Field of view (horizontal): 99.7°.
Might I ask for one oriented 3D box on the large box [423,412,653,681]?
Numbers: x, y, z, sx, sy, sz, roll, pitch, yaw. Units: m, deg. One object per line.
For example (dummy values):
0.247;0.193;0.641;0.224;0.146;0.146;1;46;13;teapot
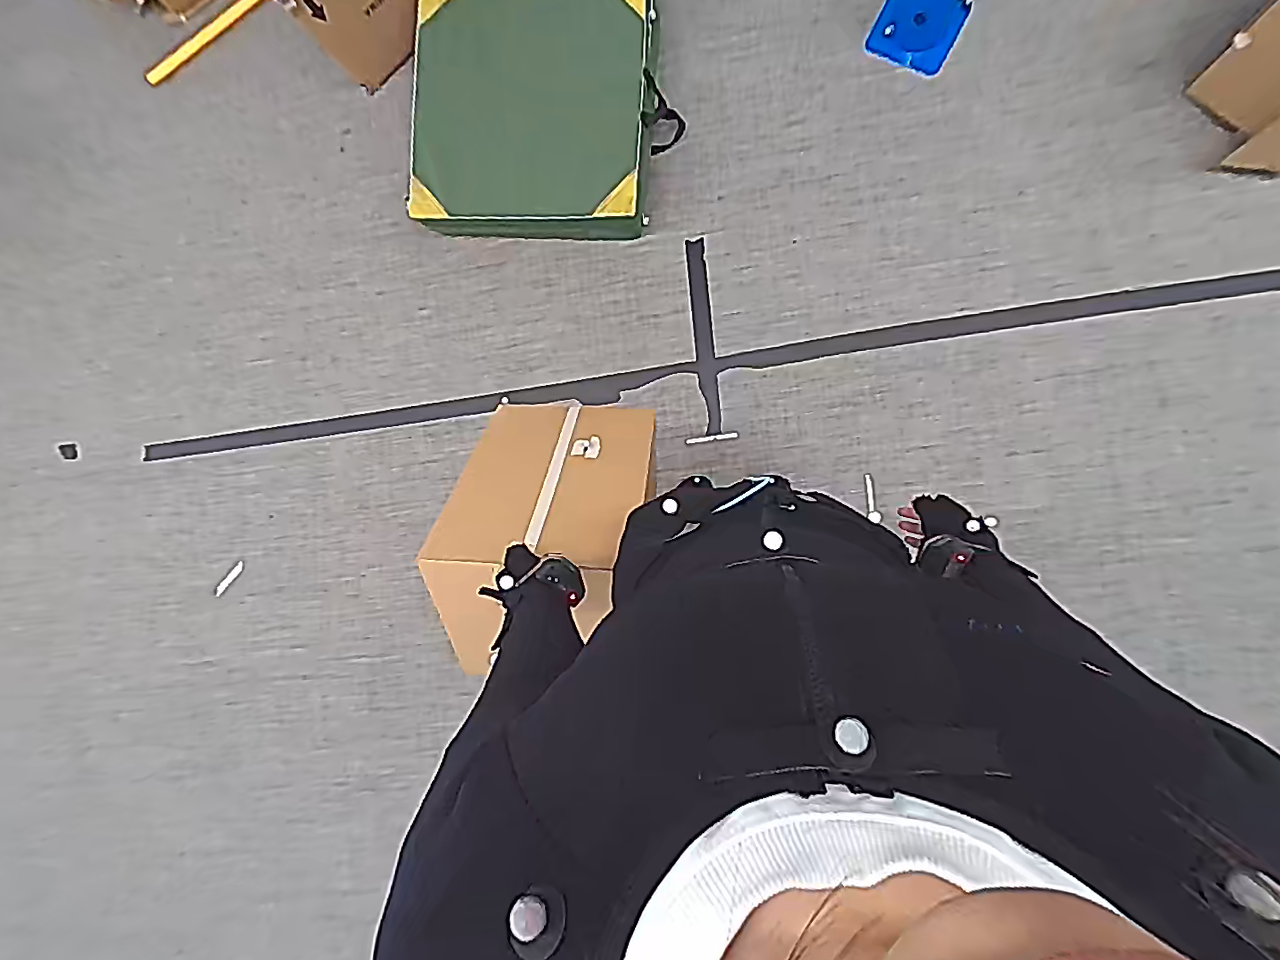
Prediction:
-0.144;0.113;1.013;0.320;0.408;0.320;3;130;5;large box
